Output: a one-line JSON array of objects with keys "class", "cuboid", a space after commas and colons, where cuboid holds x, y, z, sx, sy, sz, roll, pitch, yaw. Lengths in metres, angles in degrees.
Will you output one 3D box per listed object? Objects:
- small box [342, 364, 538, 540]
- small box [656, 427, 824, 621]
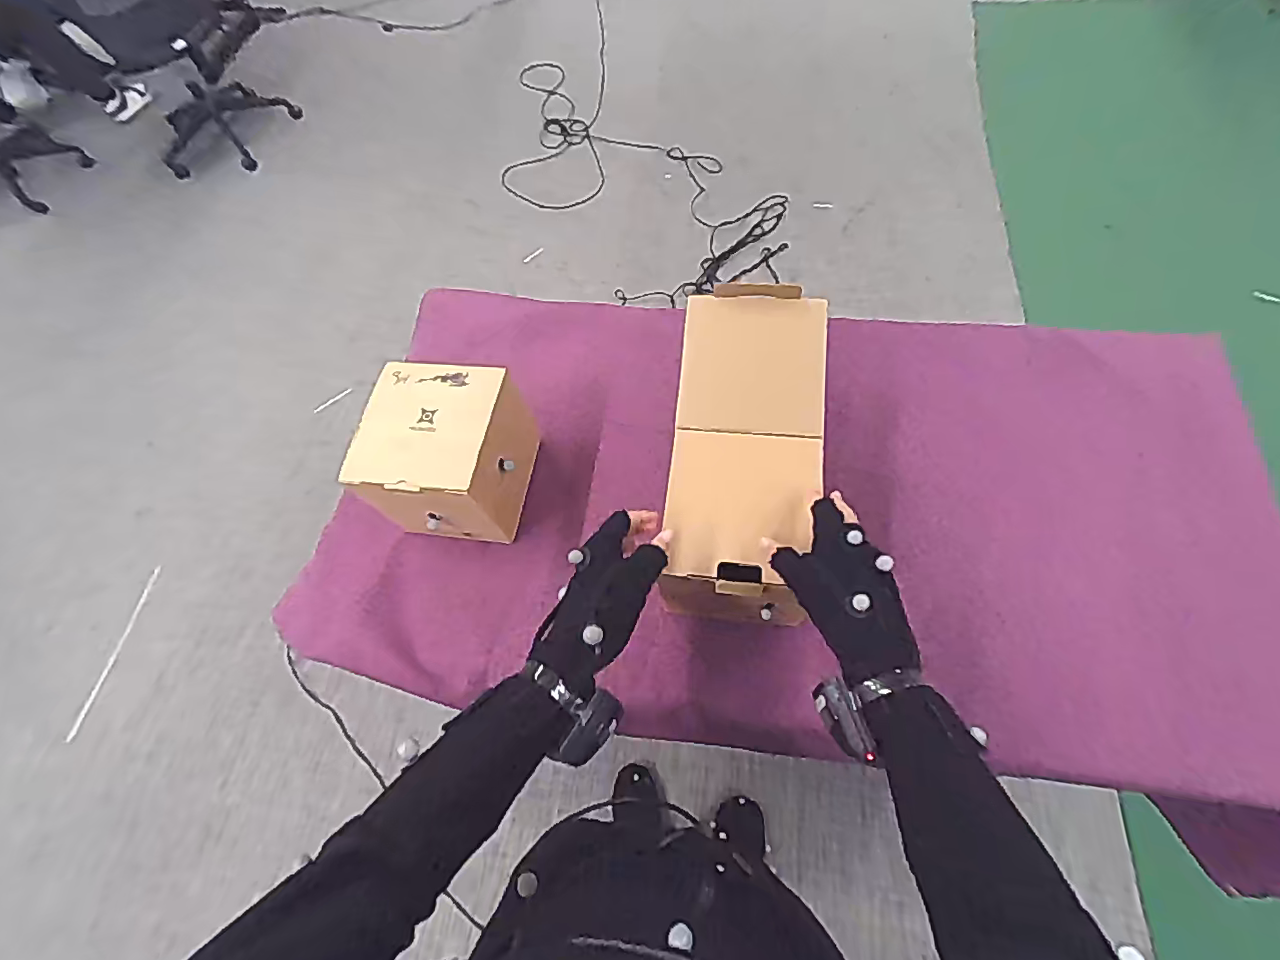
[{"class": "small box", "cuboid": [-0.248, -0.031, 0.721, 0.168, 0.176, 0.179, 5, 65, 8]}, {"class": "small box", "cuboid": [0.117, 0.059, 0.636, 0.168, 0.176, 0.179, 5, 64, 8]}]
